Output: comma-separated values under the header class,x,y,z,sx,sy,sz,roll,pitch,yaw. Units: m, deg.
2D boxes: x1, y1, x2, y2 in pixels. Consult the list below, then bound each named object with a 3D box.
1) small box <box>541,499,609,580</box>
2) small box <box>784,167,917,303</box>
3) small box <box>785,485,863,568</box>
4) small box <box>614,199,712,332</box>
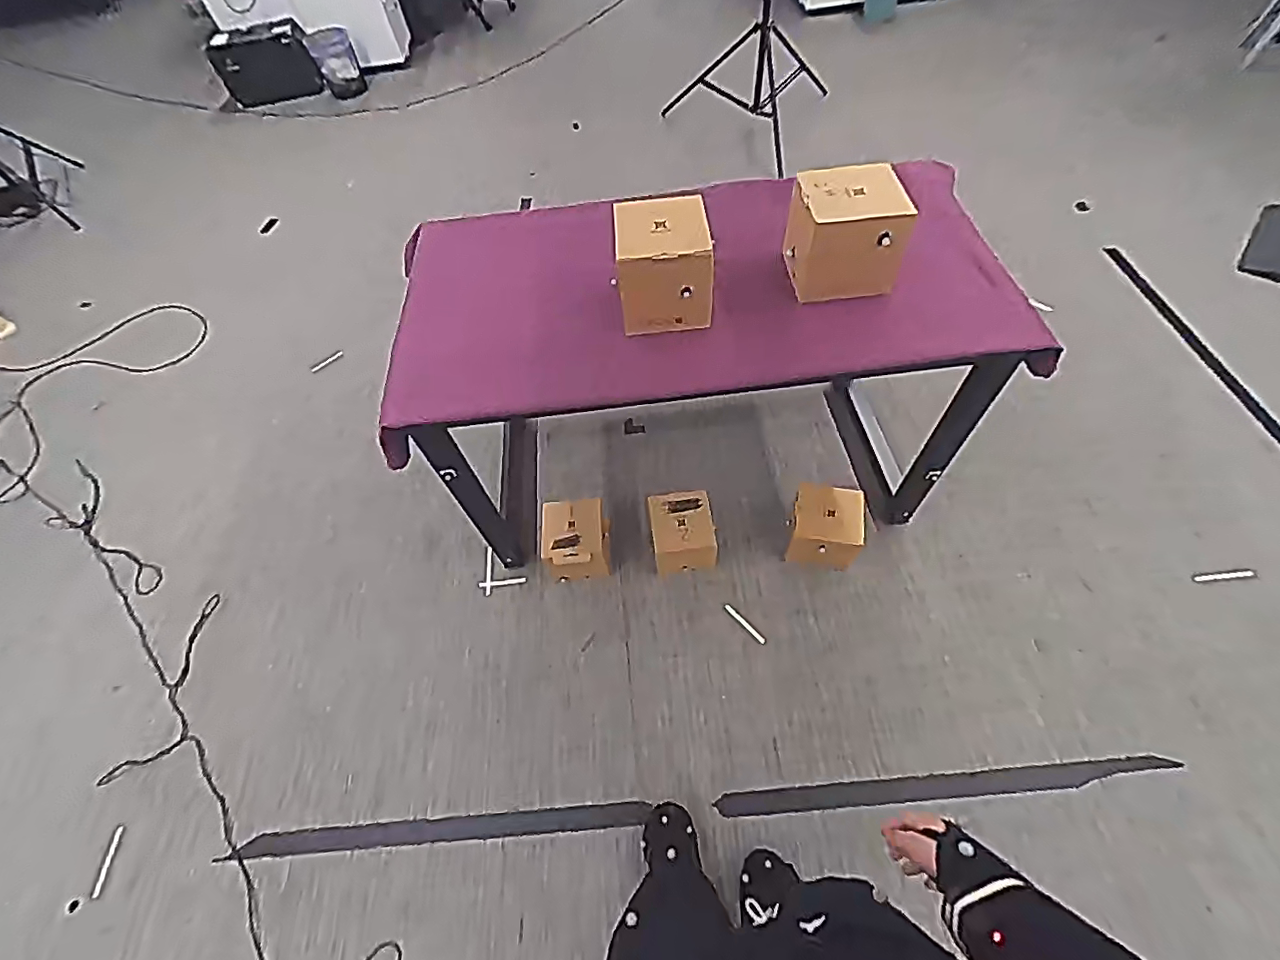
class,x,y,z,sx,sy,sz,roll,pitch,yaw
small box,-0.180,0.175,1.539,0.168,0.176,0.179,-6,57,1
small box,0.386,-0.459,1.024,0.179,0.176,0.168,-5,57,2
small box,0.510,0.135,1.506,0.179,0.176,0.168,7,60,11
small box,0.043,-0.395,1.016,0.168,0.176,0.179,-5,55,1
